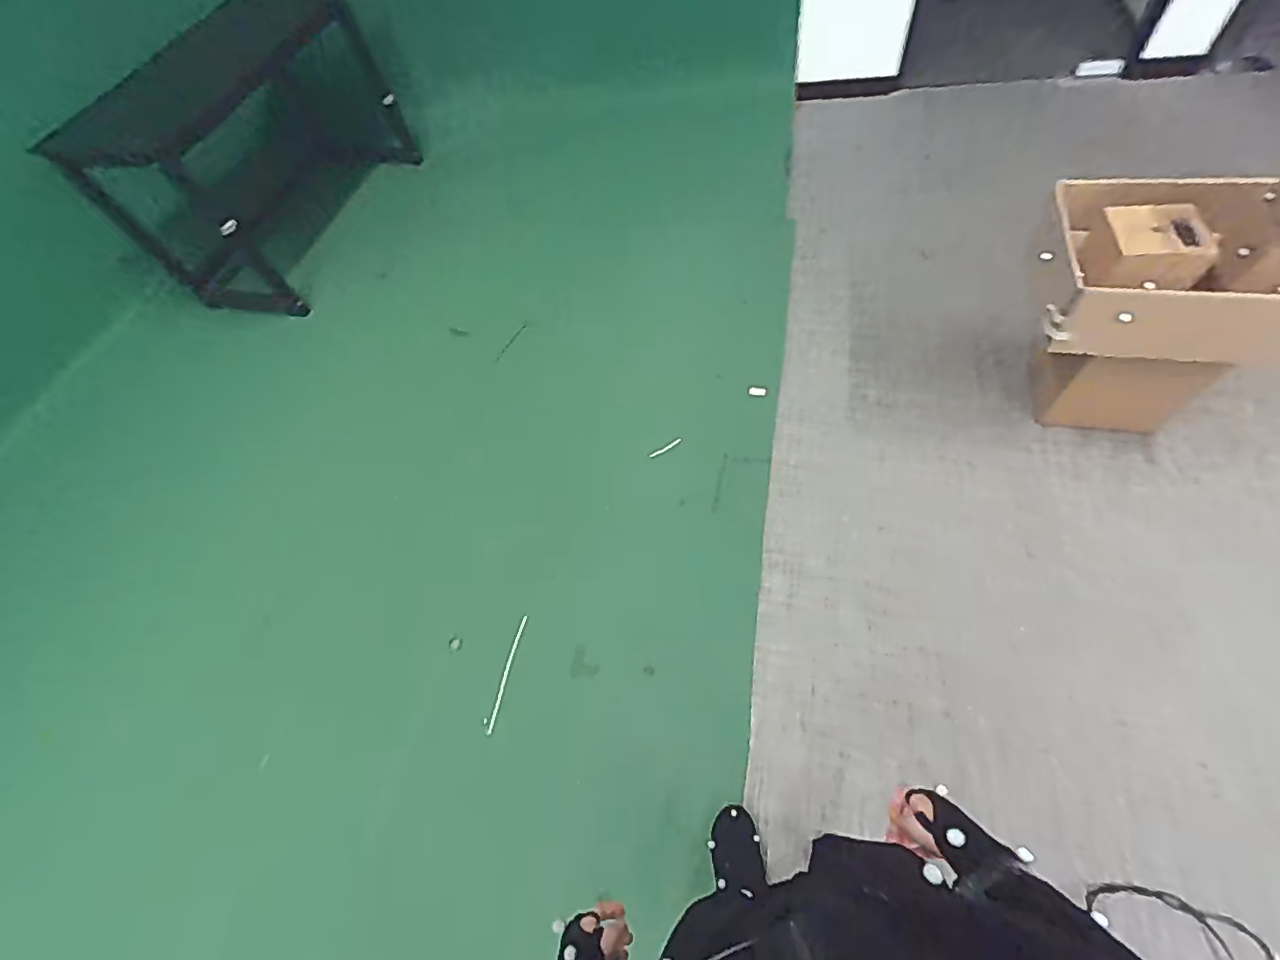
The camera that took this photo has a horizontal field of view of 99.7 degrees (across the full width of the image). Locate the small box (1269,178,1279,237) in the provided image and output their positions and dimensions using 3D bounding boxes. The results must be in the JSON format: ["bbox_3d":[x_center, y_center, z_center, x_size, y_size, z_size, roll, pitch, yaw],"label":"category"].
[{"bbox_3d":[1.380,-0.572,1.035,0.179,0.176,0.168,10,62,15],"label":"small box"}]

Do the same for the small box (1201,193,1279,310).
[{"bbox_3d":[1.393,-0.493,1.179,0.168,0.176,0.179,11,63,16],"label":"small box"}]
